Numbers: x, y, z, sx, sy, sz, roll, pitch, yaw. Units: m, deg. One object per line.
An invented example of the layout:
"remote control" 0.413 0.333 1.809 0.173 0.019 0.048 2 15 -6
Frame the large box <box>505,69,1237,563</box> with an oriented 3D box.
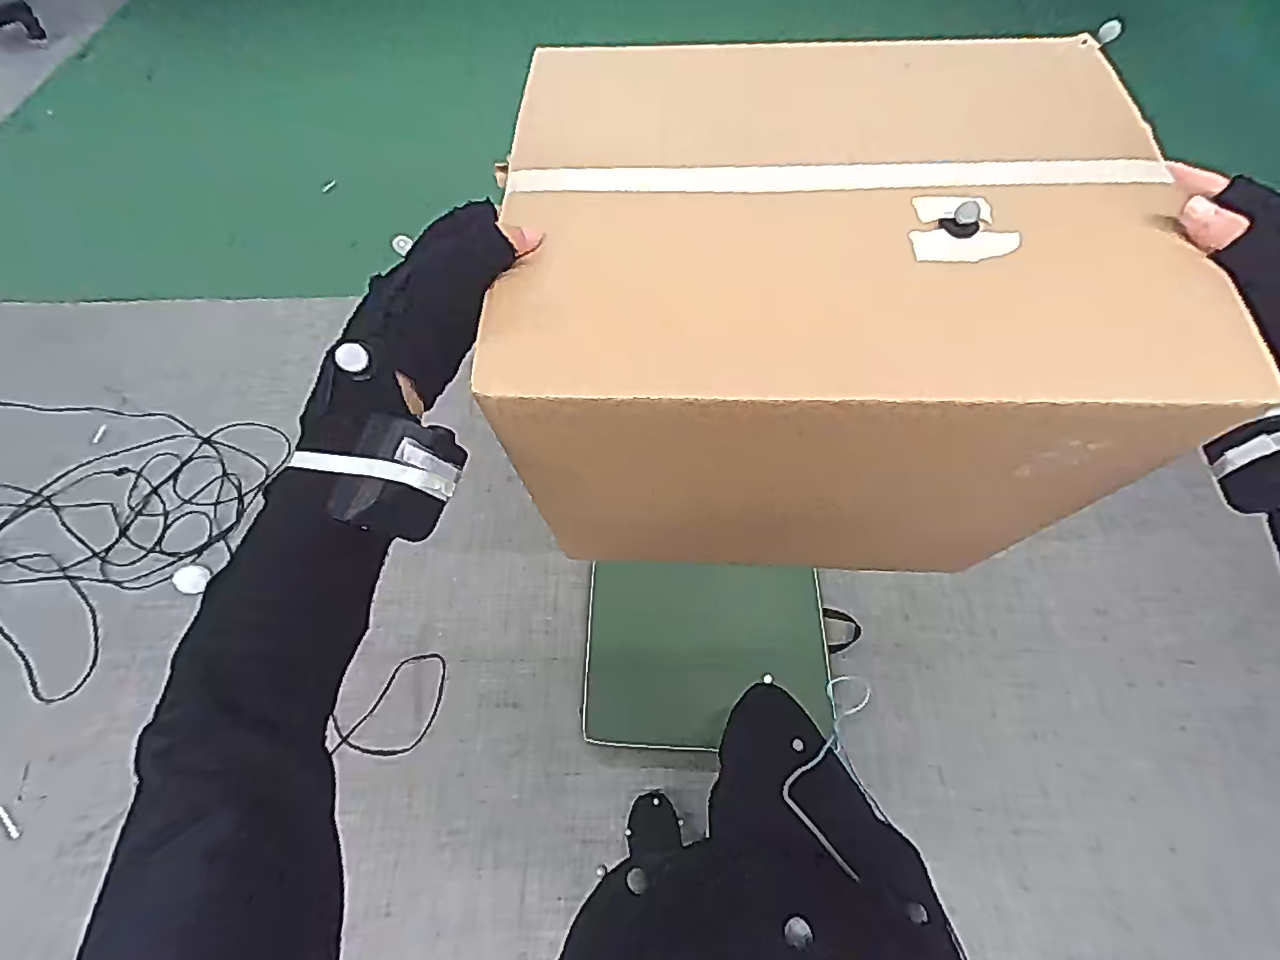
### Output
"large box" 0.126 -0.116 0.490 0.408 0.320 0.320 1 65 2
